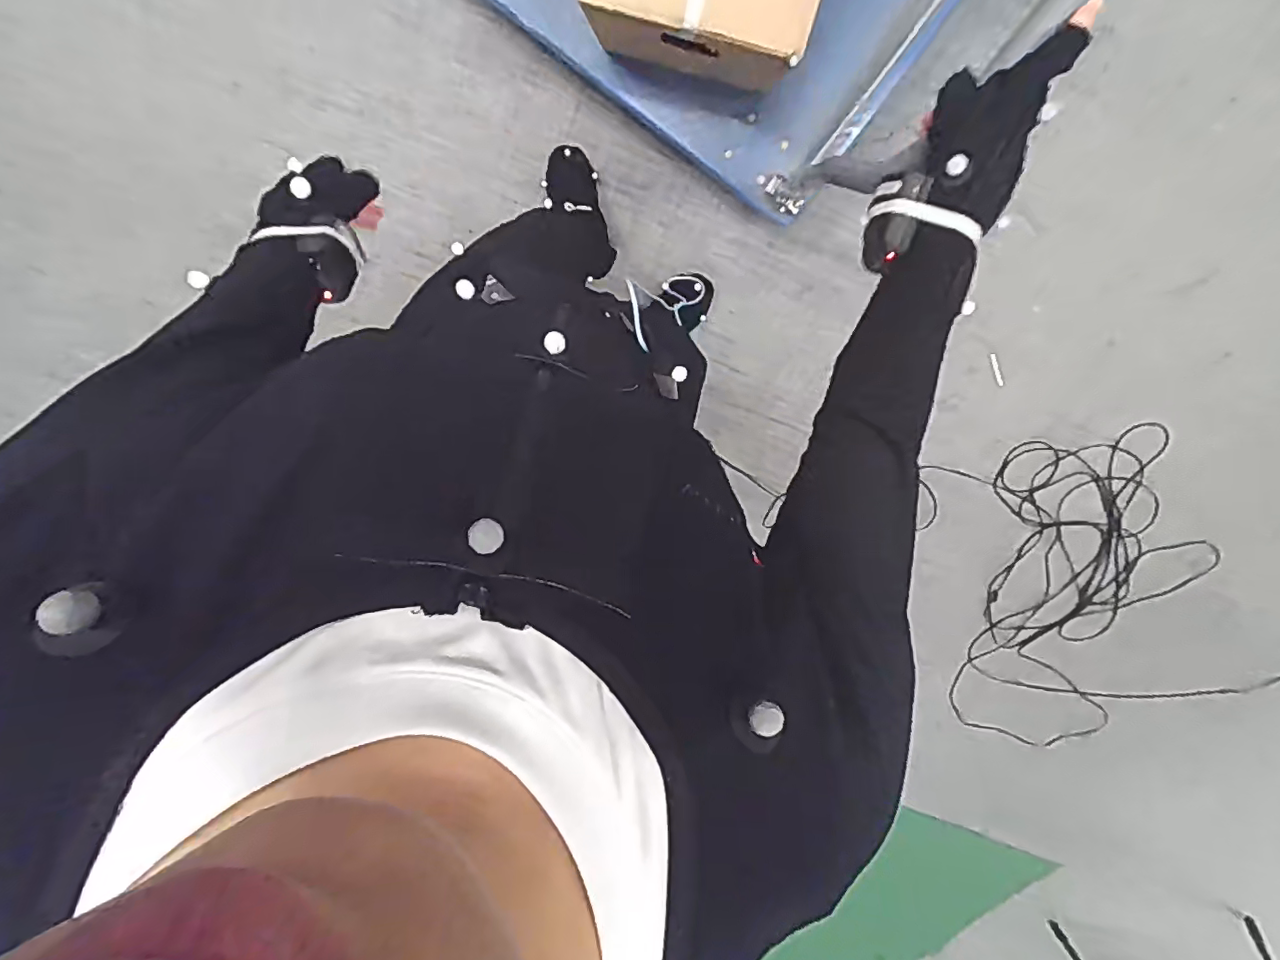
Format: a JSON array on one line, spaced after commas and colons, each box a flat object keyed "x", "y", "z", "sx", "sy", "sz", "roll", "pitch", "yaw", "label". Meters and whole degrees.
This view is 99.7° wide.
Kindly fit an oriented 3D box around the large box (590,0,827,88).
[{"x": 0.128, "y": -0.839, "z": 0.752, "sx": 0.320, "sy": 0.320, "sz": 0.408, "roll": 13, "pitch": 120, "yaw": -3, "label": "large box"}]
